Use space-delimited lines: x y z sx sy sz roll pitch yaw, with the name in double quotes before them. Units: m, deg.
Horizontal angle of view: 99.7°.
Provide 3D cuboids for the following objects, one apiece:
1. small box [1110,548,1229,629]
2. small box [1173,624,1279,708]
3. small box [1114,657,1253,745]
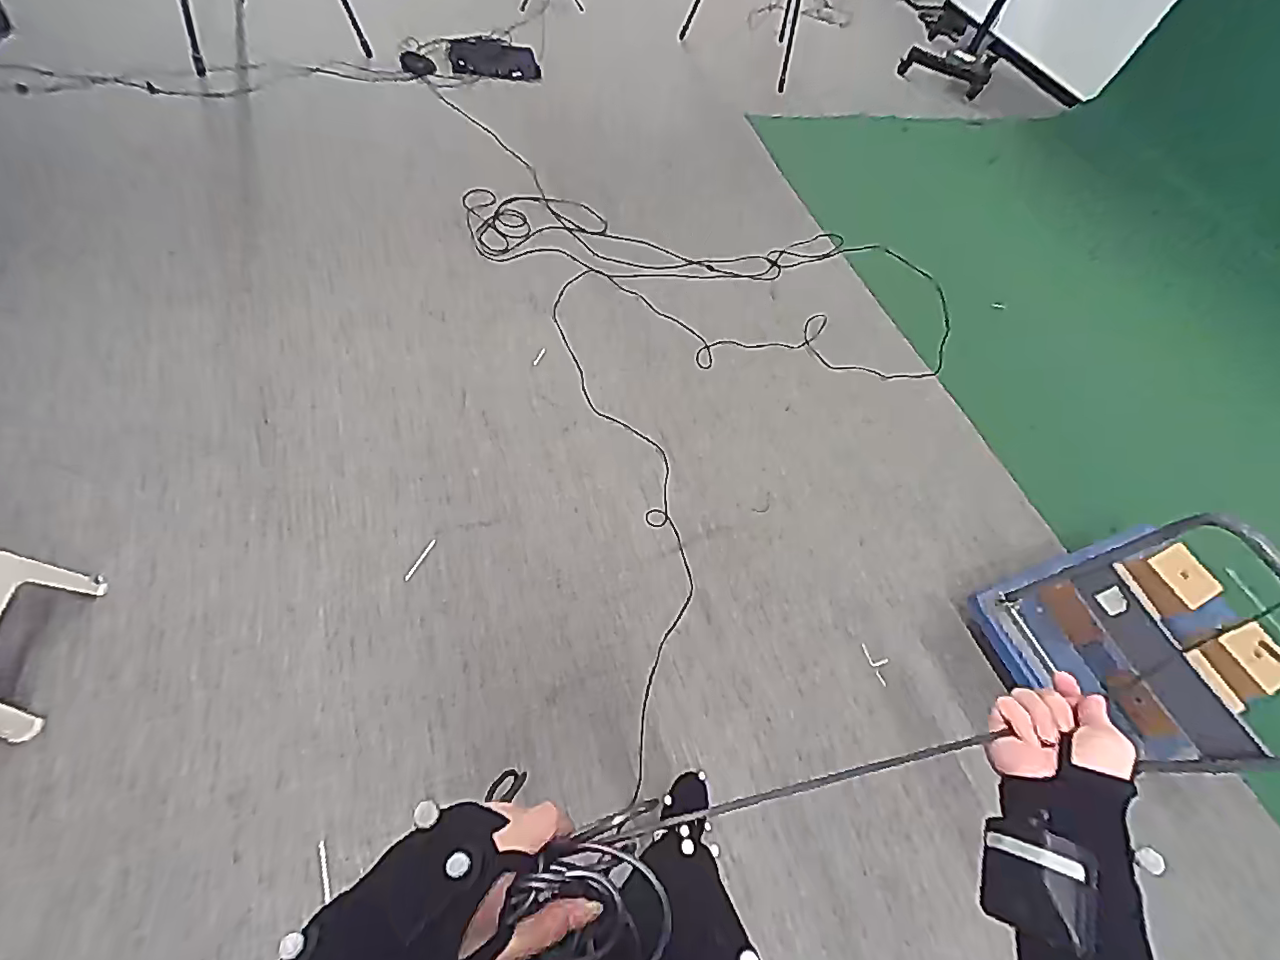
"small box" 1.608 0.338 1.658 0.179 0.176 0.168 -17 64 -20
"small box" 1.713 0.541 1.554 0.179 0.176 0.168 -18 63 -19
"small box" 1.464 0.603 1.470 0.179 0.176 0.168 -13 62 -17
